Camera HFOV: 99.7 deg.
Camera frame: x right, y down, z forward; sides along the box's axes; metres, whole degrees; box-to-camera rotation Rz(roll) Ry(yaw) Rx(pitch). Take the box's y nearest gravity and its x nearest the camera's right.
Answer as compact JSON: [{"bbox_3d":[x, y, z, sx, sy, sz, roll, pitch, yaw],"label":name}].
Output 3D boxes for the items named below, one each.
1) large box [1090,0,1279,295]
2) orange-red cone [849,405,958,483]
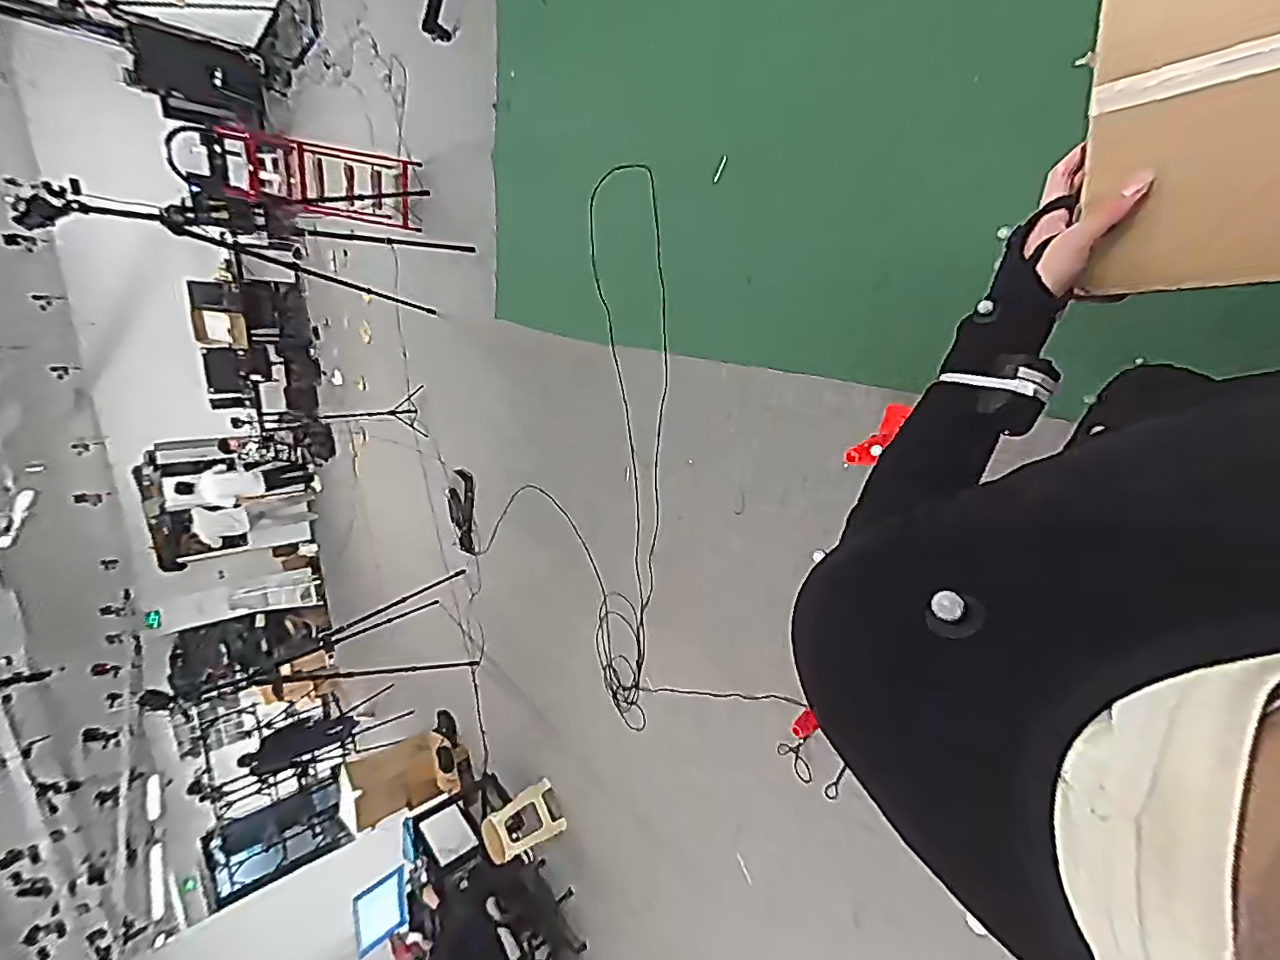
[{"bbox_3d":[0.630,-0.338,0.409,0.408,0.320,0.320,10,115,45],"label":"large box"},{"bbox_3d":[0.690,-0.086,1.508,0.199,0.360,0.198,33,122,42],"label":"orange-red cone"}]
